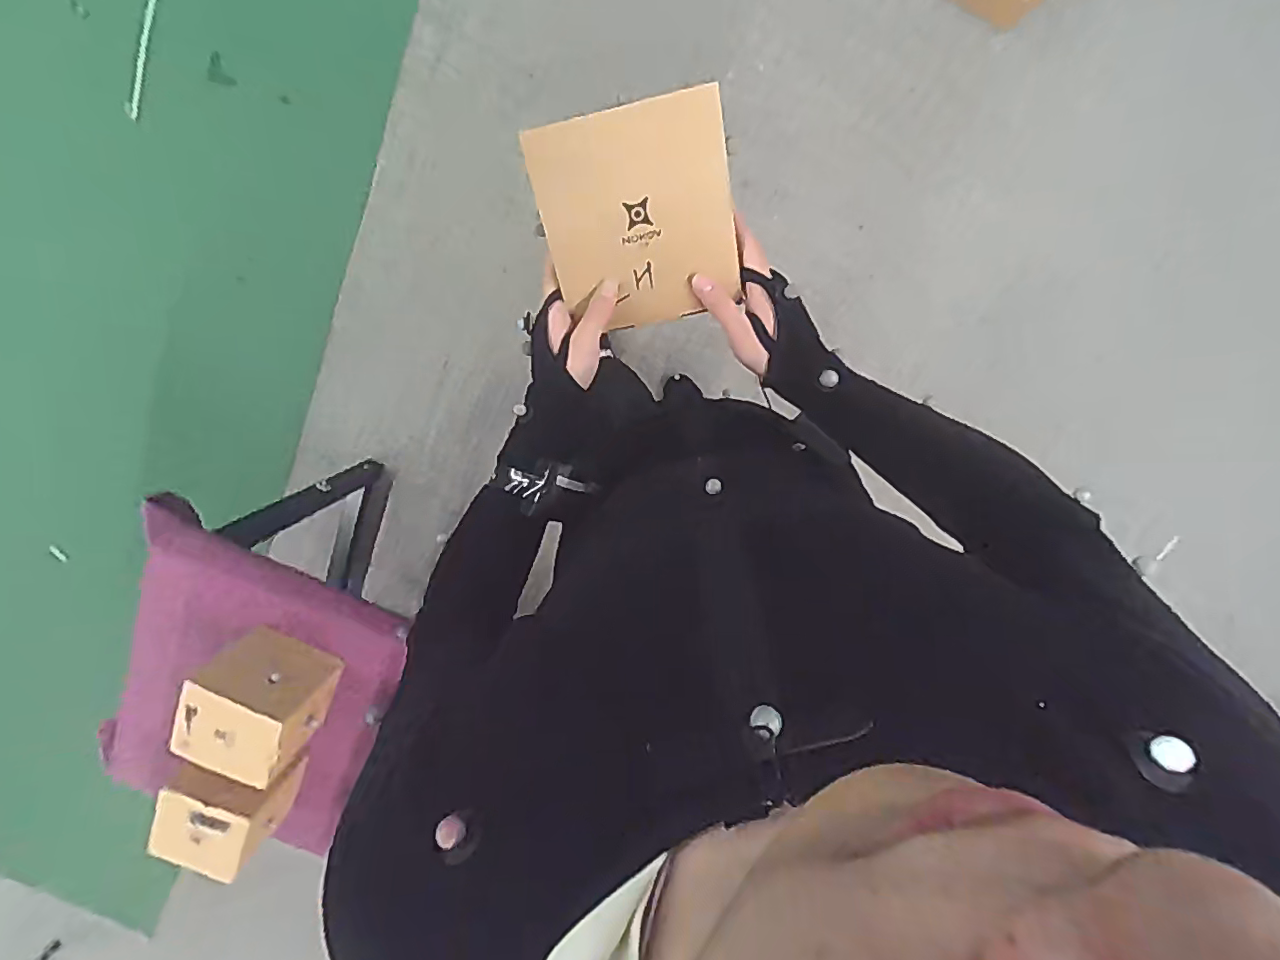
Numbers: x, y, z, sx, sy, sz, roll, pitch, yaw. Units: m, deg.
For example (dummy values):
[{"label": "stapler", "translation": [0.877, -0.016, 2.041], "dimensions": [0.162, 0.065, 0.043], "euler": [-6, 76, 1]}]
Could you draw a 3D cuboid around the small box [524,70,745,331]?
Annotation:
[{"label": "small box", "translation": [0.003, -0.266, 0.529], "dimensions": [0.168, 0.176, 0.179], "euler": [-9, 121, 8]}]

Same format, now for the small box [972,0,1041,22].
[{"label": "small box", "translation": [0.827, -1.138, 1.152], "dimensions": [0.179, 0.176, 0.168], "euler": [27, 106, -4]}]

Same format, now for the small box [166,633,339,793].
[{"label": "small box", "translation": [-0.681, 0.406, 0.968], "dimensions": [0.179, 0.176, 0.168], "euler": [26, 107, -4]}]

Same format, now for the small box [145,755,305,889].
[{"label": "small box", "translation": [-0.786, 0.622, 1.041], "dimensions": [0.168, 0.176, 0.179], "euler": [25, 107, -3]}]
